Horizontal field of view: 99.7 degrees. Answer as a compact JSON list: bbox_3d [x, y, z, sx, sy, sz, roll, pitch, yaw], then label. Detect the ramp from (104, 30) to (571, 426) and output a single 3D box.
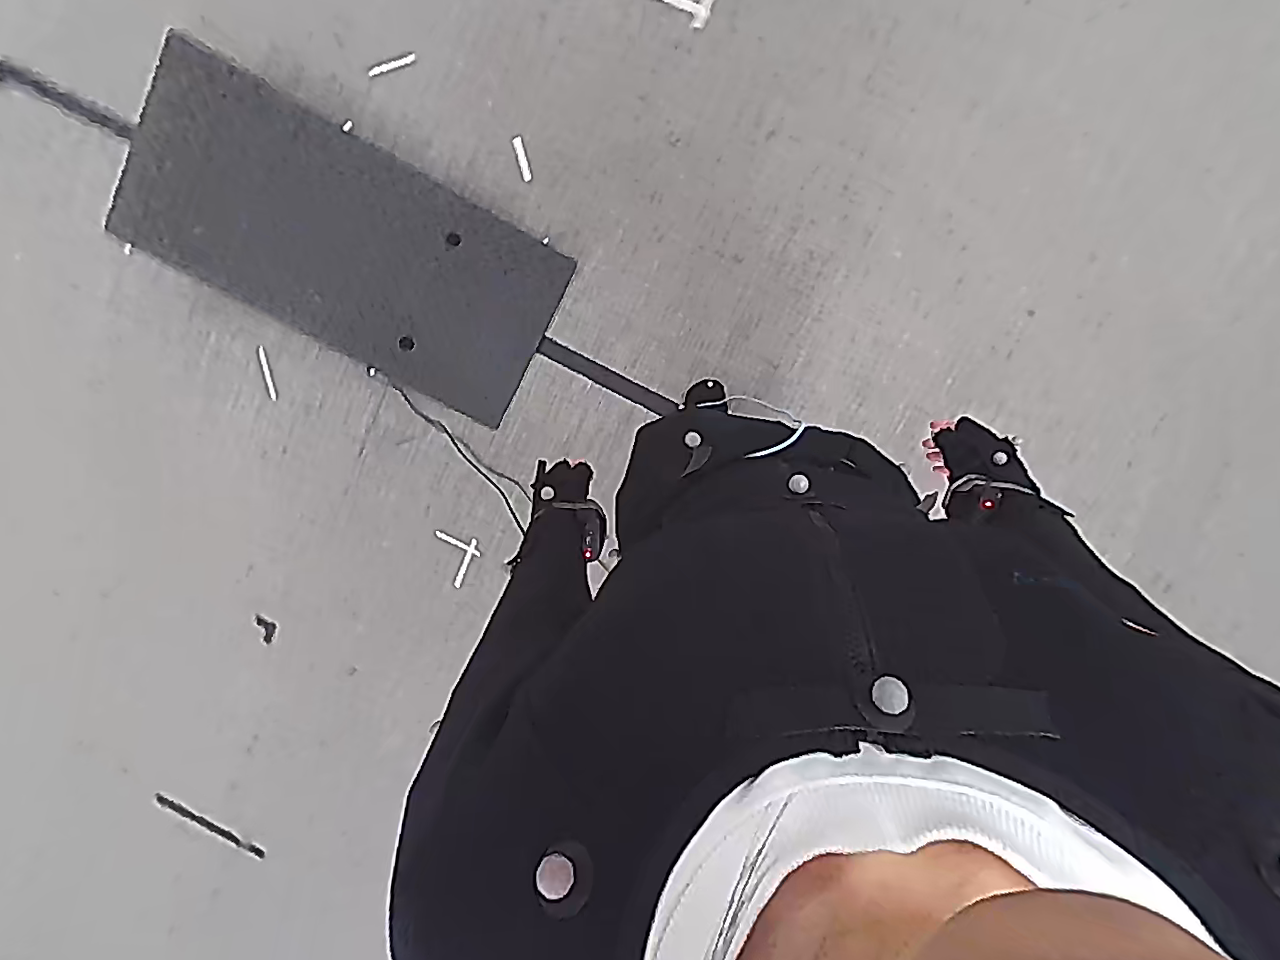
[{"bbox_3d":[-0.717,-0.573,1.331,0.991,0.206,0.509,27,99,-1],"label":"ramp"}]
